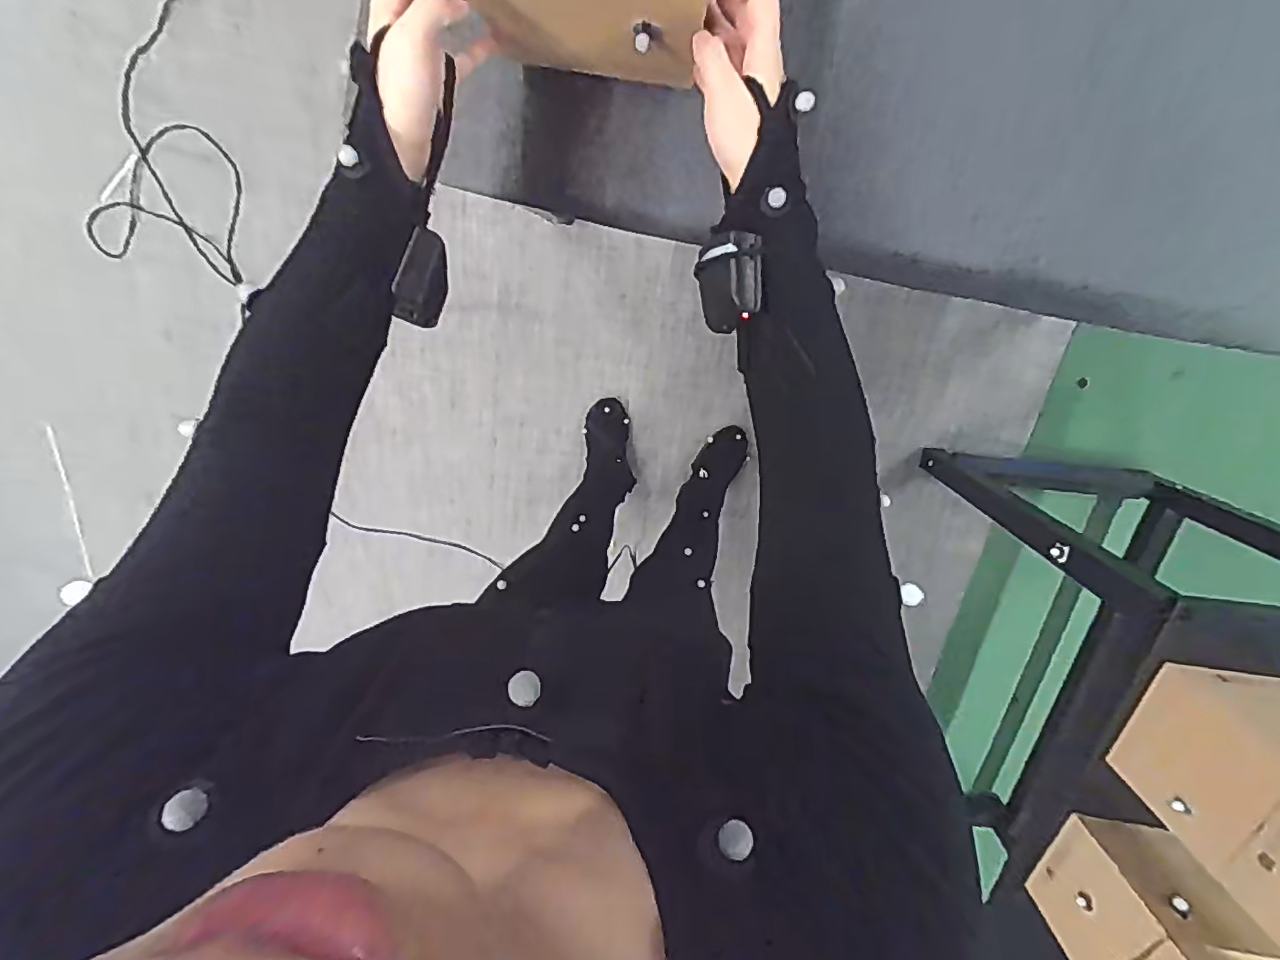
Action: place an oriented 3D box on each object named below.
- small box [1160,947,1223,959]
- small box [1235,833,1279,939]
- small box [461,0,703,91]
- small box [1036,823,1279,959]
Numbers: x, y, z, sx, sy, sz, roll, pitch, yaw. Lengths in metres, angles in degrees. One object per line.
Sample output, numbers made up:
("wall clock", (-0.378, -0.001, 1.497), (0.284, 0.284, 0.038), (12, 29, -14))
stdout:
("small box", (0.675, 0.679, 0.598), (0.168, 0.176, 0.179), (19, 109, -4))
("small box", (0.741, 0.421, 0.498), (0.179, 0.176, 0.168), (10, 111, -2))
("small box", (-0.034, -0.418, 0.396), (0.179, 0.176, 0.168), (6, 103, 0))
("small box", (0.705, 0.614, 0.746), (0.179, 0.176, 0.168), (11, 111, -1))
